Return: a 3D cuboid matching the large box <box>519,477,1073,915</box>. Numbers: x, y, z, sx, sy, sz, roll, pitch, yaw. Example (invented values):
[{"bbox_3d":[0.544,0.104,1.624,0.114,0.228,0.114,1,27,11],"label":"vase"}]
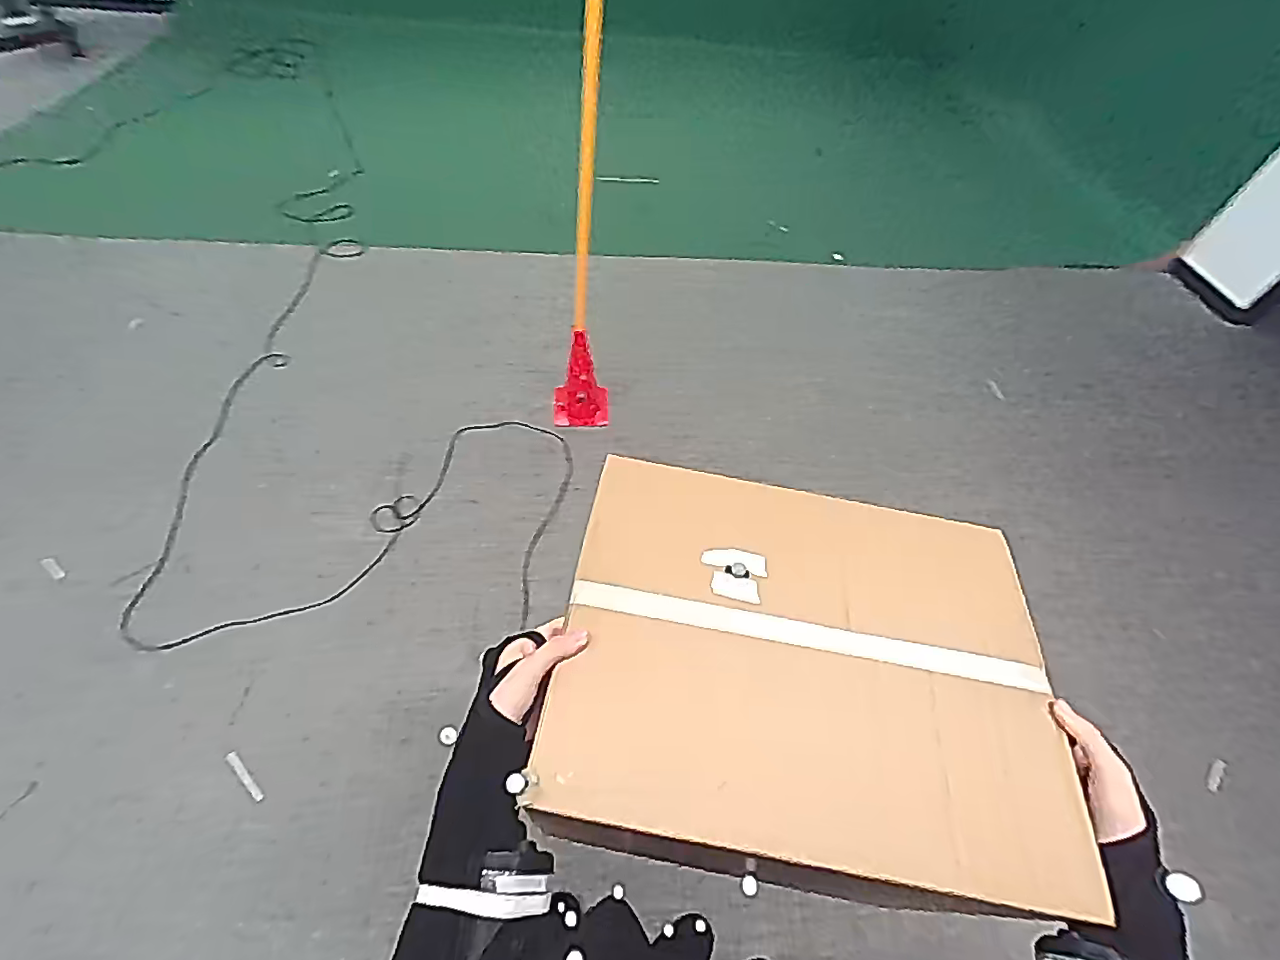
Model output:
[{"bbox_3d":[0.120,0.234,0.586,0.408,0.320,0.320,10,53,2],"label":"large box"}]
